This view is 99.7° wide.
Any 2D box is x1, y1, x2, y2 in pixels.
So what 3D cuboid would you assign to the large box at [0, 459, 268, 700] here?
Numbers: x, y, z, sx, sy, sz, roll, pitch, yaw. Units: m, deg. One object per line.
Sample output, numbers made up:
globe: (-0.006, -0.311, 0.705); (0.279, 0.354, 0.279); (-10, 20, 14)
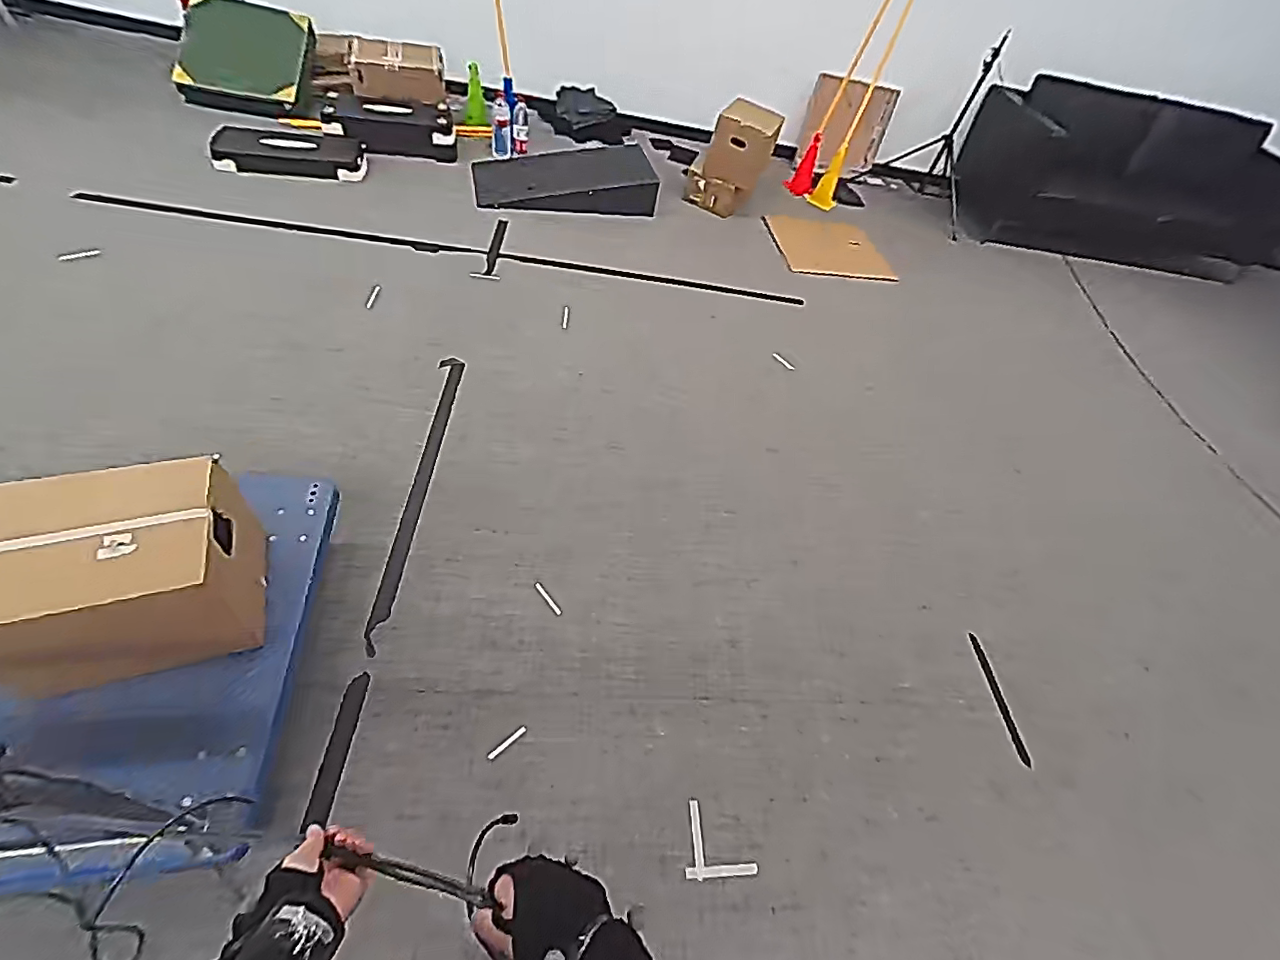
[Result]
large box: (-1.046, 0.198, 1.108); (0.408, 0.320, 0.320); (-10, 56, -21)
